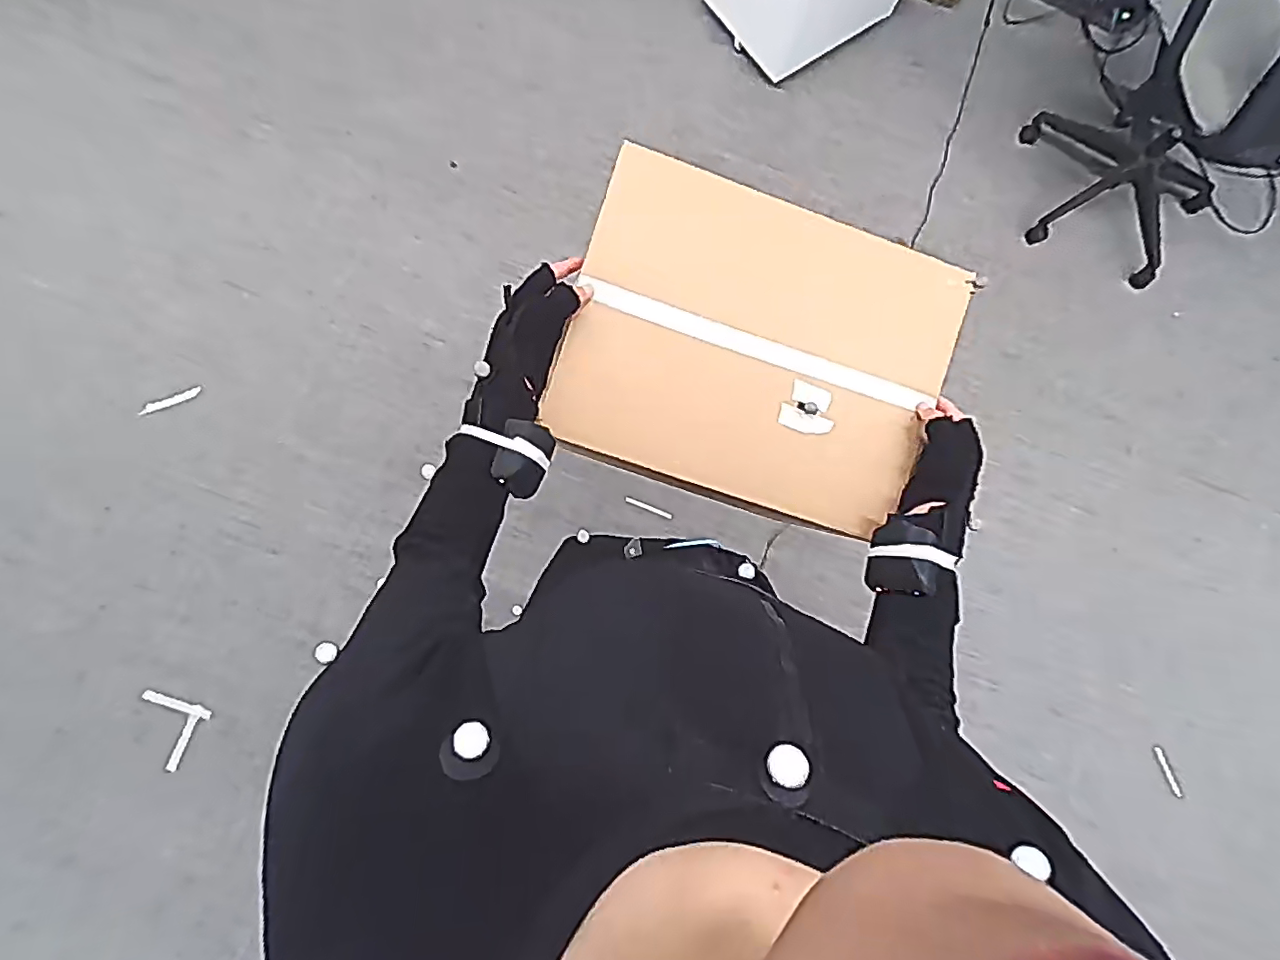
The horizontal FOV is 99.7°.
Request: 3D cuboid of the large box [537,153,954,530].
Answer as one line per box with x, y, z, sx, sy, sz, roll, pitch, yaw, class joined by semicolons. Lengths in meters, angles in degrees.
0.106;-0.148;0.734;0.408;0.320;0.320;18;90;-6;large box
